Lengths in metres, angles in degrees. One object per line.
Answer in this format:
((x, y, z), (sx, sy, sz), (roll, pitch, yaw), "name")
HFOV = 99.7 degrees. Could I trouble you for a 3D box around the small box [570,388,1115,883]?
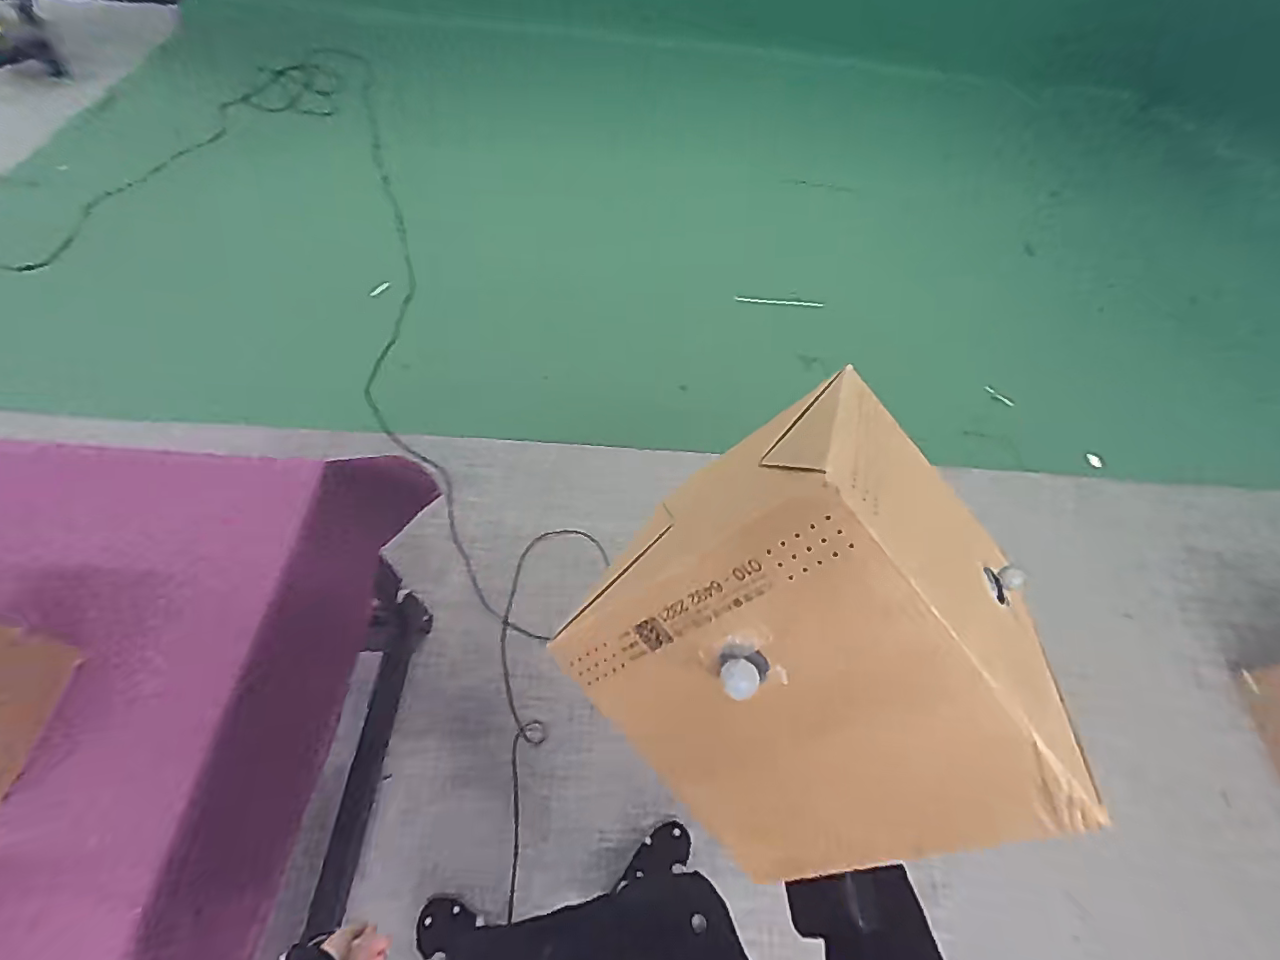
((0.097, 0.070, 0.302), (0.176, 0.168, 0.179), (50, 32, -2), "small box")
